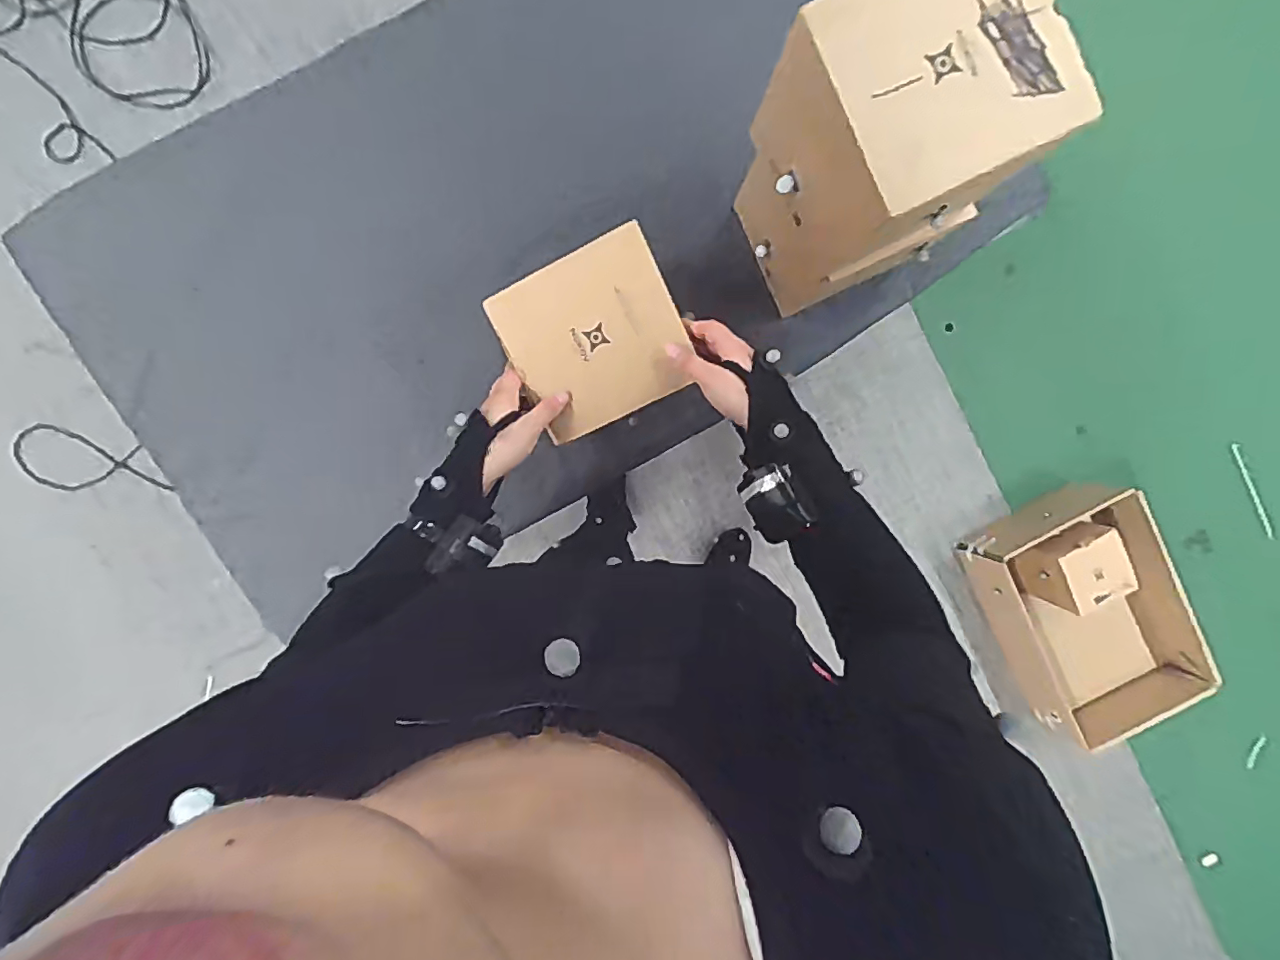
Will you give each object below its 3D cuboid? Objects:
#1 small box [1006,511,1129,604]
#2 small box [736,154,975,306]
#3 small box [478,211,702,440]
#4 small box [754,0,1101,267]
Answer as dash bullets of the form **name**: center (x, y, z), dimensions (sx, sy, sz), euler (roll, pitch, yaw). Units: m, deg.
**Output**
- **small box**: center (1.123, 0.196, 1.436), dimensions (0.168, 0.176, 0.179), euler (-27, 98, 1)
- **small box**: center (0.233, -0.326, 0.628), dimensions (0.179, 0.176, 0.168), euler (-25, 96, 1)
- **small box**: center (-0.042, -0.161, 0.604), dimensions (0.179, 0.176, 0.168), euler (-25, 100, 9)
- **small box**: center (0.222, -0.313, 0.464), dimensions (0.179, 0.176, 0.168), euler (-26, 96, 2)
